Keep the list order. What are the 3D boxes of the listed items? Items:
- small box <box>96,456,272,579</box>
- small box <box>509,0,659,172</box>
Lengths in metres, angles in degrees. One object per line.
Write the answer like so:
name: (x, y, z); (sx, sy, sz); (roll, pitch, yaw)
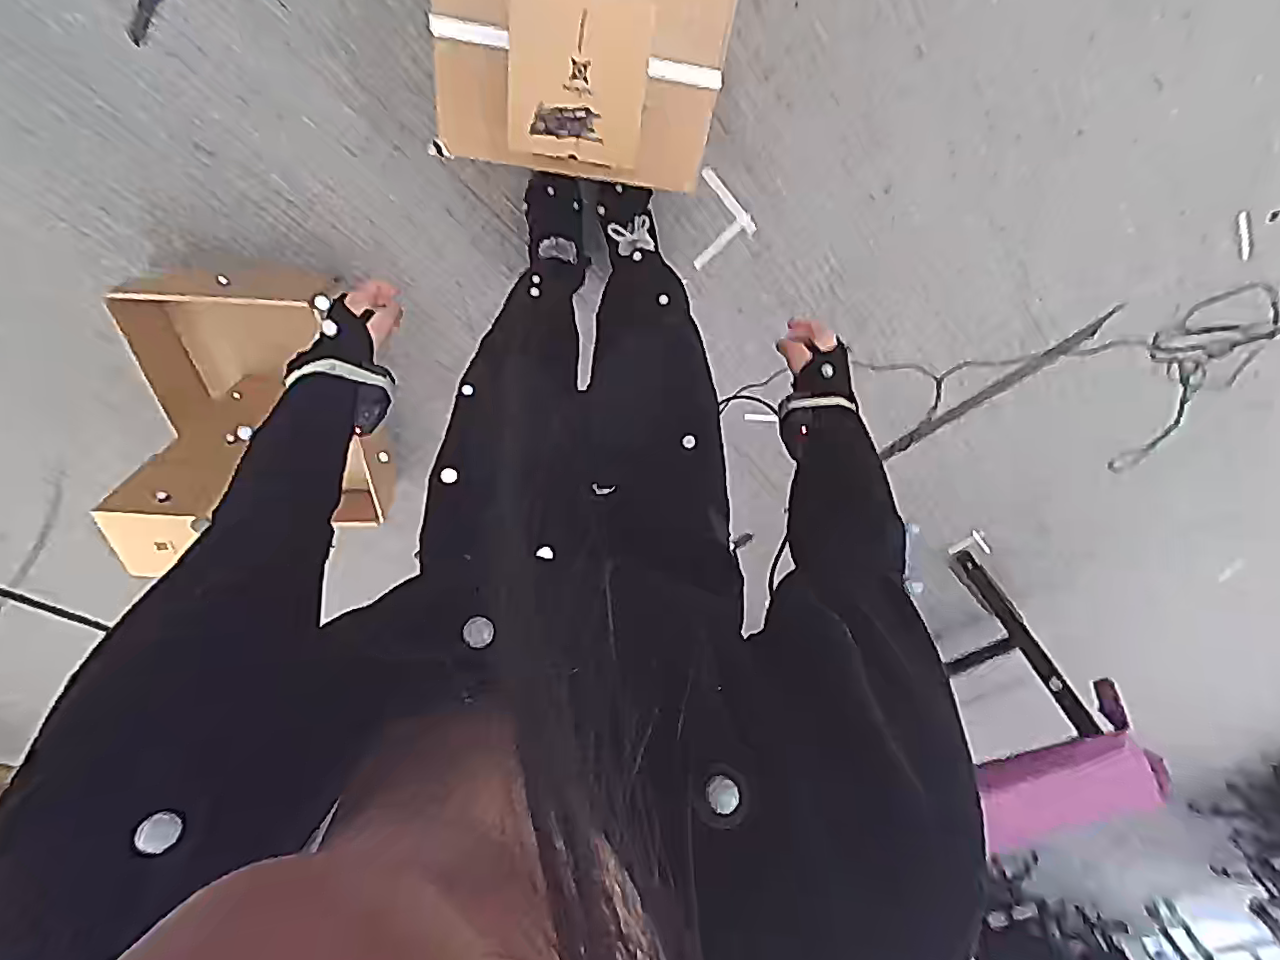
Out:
small box: (-0.856, 0.069, 1.038); (0.179, 0.176, 0.168); (4, 128, -8)
small box: (-0.077, -0.529, 0.709); (0.168, 0.176, 0.179); (4, 128, -10)
